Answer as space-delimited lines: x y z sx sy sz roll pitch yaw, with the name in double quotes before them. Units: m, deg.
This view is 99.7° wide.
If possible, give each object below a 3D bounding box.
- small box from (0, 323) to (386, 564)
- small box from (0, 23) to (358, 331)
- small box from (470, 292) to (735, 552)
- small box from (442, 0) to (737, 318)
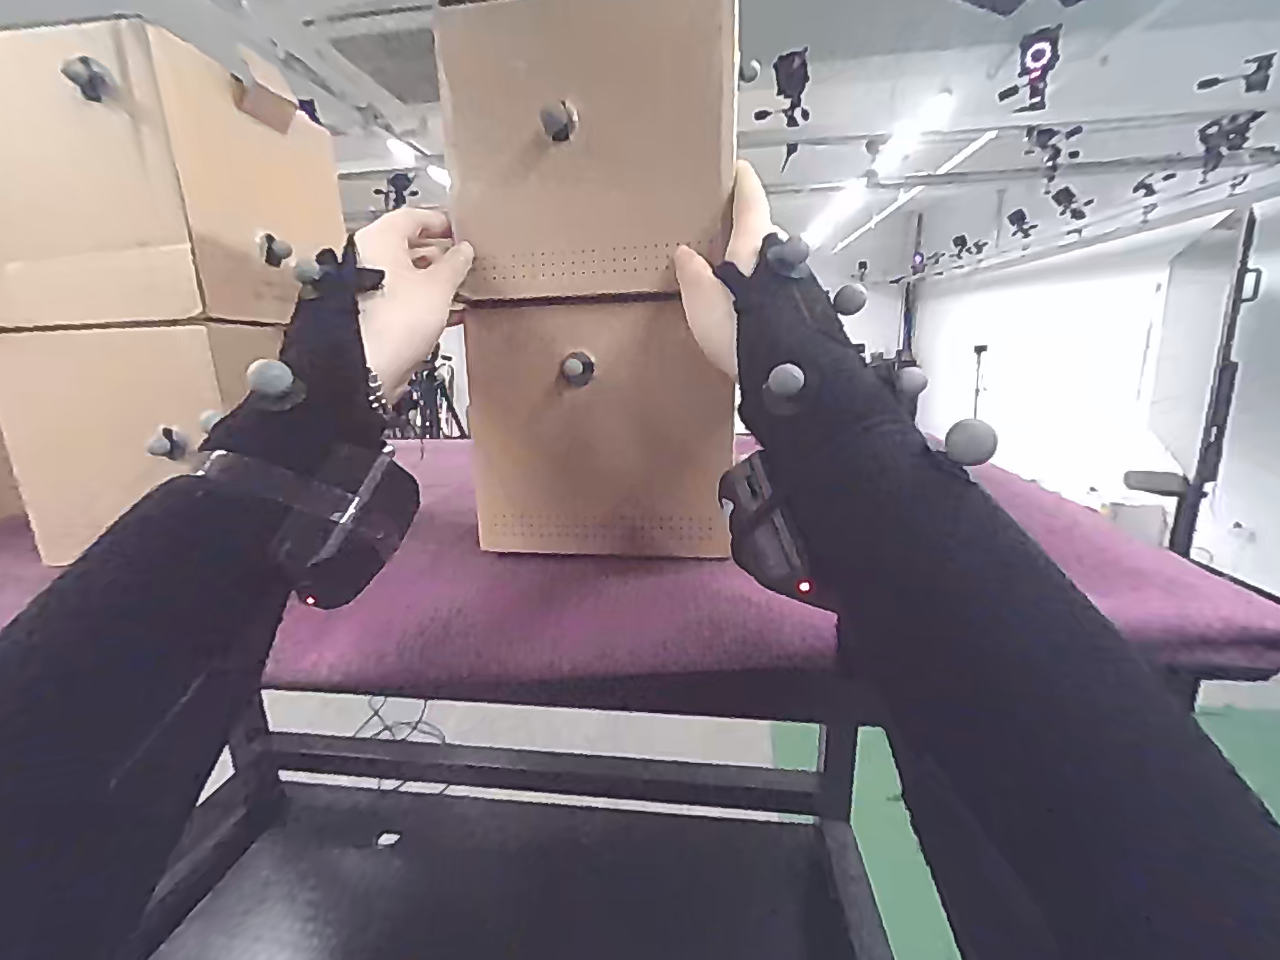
"small box" -0.338 -0.036 0.445 0.179 0.176 0.168 -1 12 6
"small box" -0.349 -0.195 0.411 0.179 0.176 0.168 -1 13 4
"small box" -0.014 -0.045 0.432 0.179 0.176 0.168 1 10 9
"small box" -0.019 -0.206 0.399 0.179 0.176 0.168 0 10 9
